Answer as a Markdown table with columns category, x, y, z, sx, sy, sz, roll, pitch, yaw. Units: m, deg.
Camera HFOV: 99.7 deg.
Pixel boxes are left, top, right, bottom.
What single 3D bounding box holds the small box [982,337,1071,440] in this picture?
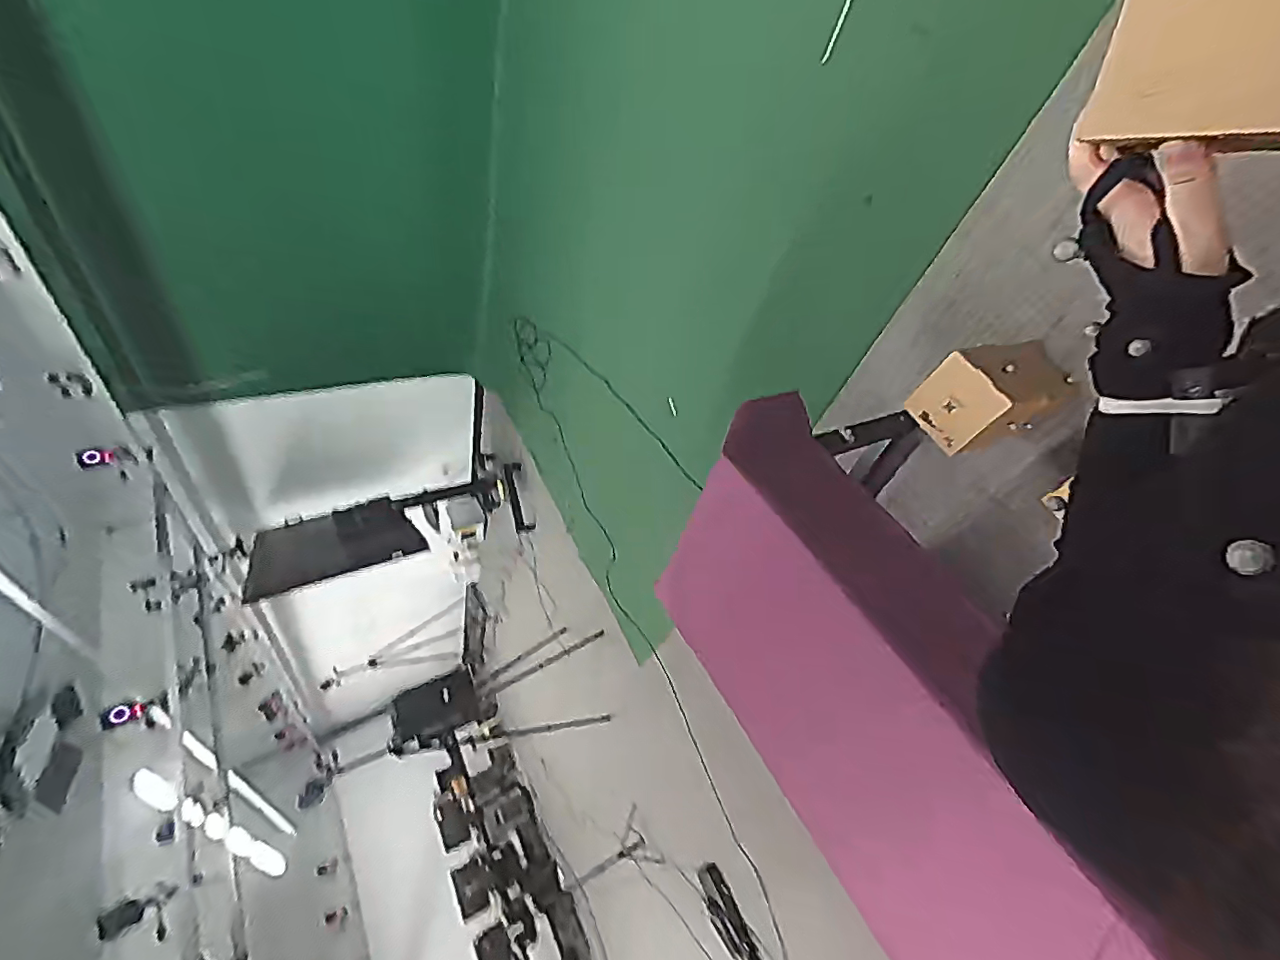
| category | x | y | z | sx | sy | sz | roll | pitch | yaw |
| --- | --- | --- | --- | --- | --- | --- | --- | --- | --- |
| small box | 0.890 | -0.225 | 1.307 | 0.168 | 0.176 | 0.179 | 62 | 148 | 21 |

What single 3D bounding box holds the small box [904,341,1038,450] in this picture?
| category | x | y | z | sx | sy | sz | roll | pitch | yaw |
| --- | --- | --- | --- | --- | --- | --- | --- | --- | --- |
| small box | 0.753 | -0.196 | 1.222 | 0.168 | 0.176 | 0.179 | 60 | 146 | 25 |
